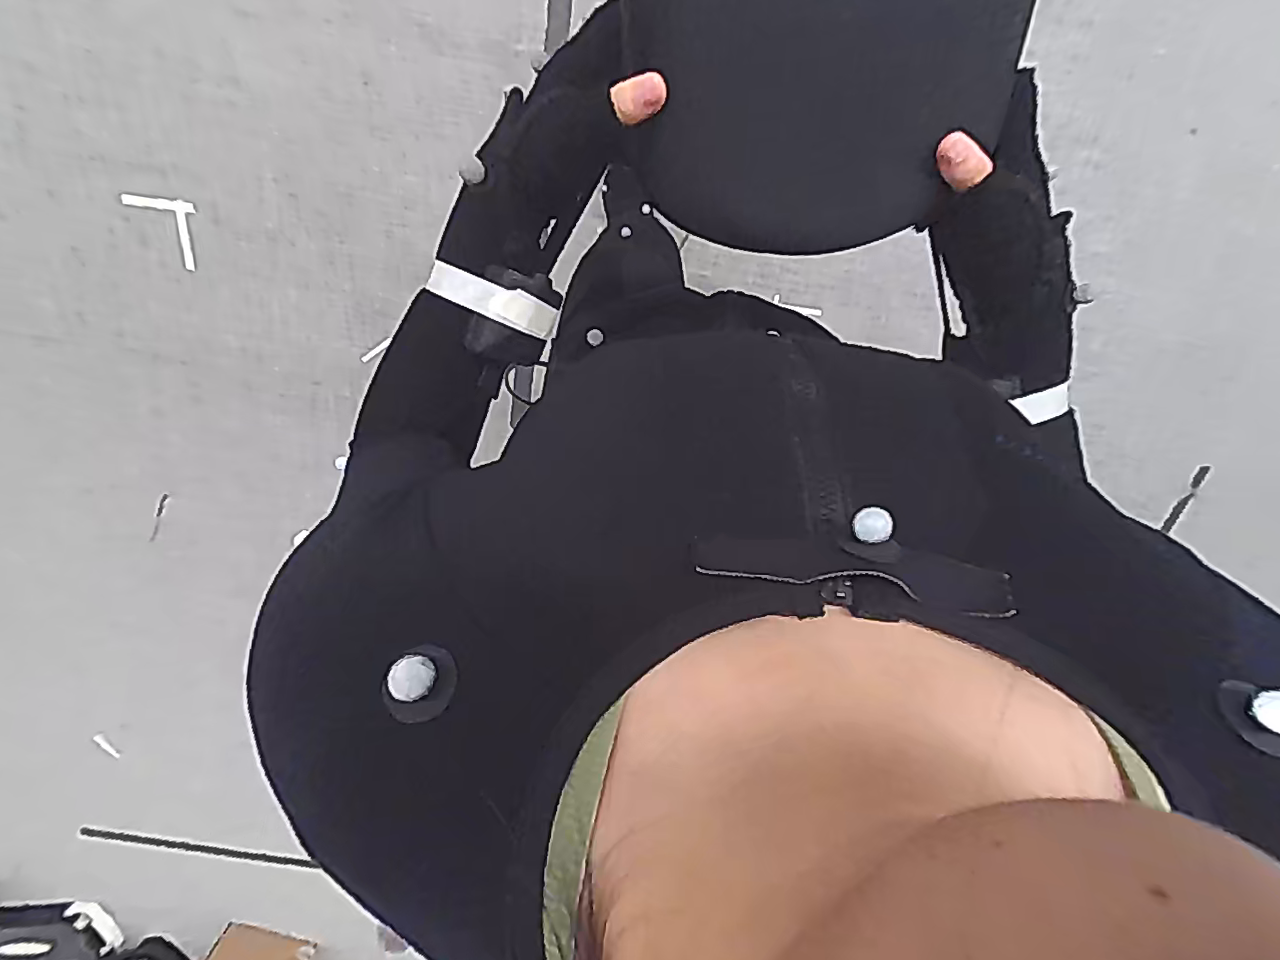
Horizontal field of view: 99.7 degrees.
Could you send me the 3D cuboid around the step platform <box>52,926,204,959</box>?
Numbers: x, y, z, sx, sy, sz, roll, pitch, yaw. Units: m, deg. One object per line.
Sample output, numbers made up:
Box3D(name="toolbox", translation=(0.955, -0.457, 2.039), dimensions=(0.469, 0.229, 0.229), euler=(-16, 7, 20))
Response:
Box3D(name="step platform", translation=(-2.413, 2.281, 2.479), dimensions=(0.684, 0.204, 0.286), euler=(-18, 111, 8))
